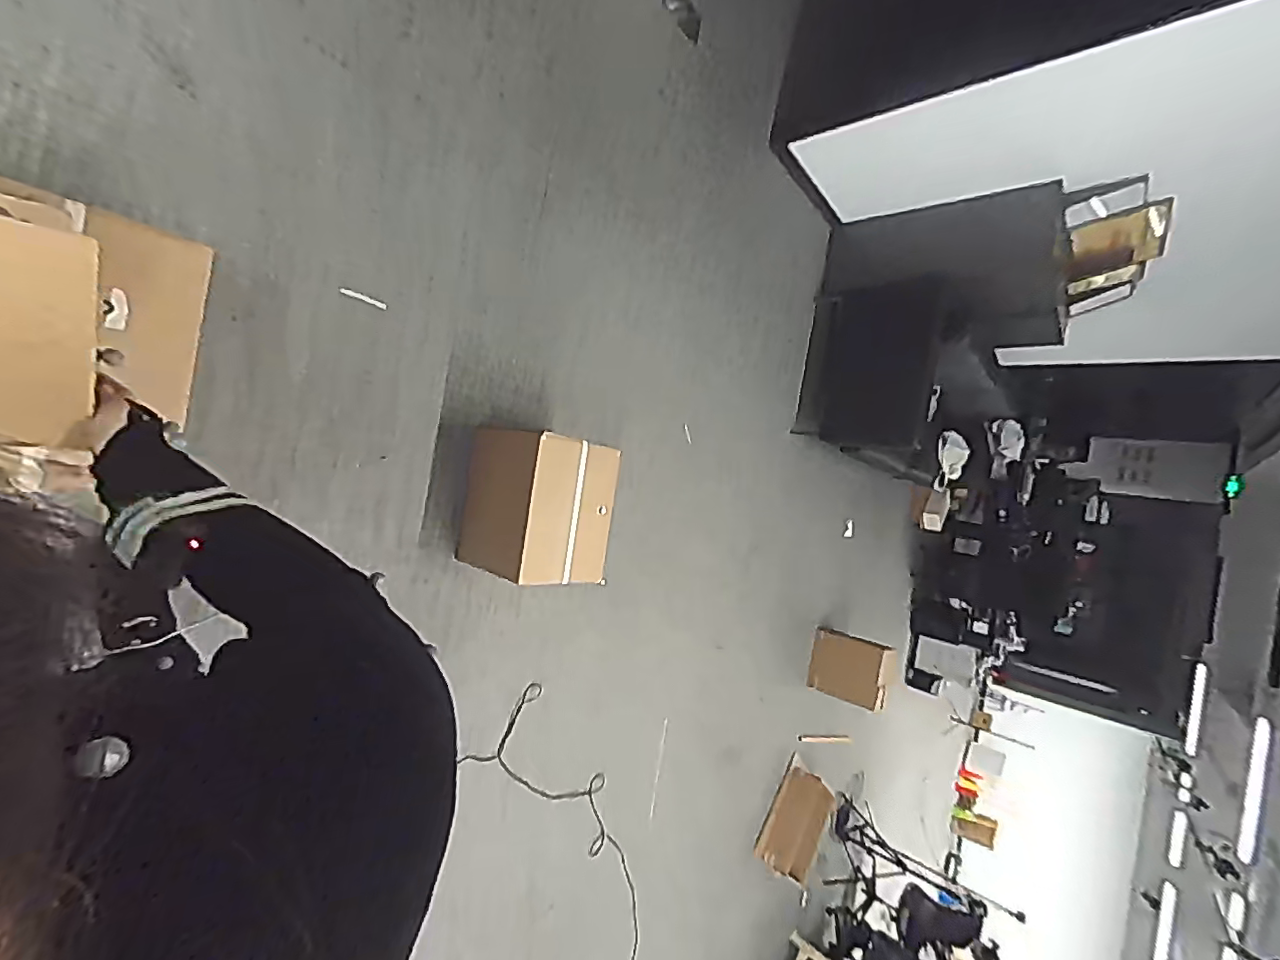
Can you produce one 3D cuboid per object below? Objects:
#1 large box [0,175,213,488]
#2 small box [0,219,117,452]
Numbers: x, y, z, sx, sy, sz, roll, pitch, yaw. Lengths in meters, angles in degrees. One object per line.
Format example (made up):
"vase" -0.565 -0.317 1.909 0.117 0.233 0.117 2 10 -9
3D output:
"large box" -0.924 -0.208 0.859 0.320 0.320 0.408 9 88 -48
"small box" -0.559 -0.124 0.454 0.168 0.176 0.179 0 101 -45
